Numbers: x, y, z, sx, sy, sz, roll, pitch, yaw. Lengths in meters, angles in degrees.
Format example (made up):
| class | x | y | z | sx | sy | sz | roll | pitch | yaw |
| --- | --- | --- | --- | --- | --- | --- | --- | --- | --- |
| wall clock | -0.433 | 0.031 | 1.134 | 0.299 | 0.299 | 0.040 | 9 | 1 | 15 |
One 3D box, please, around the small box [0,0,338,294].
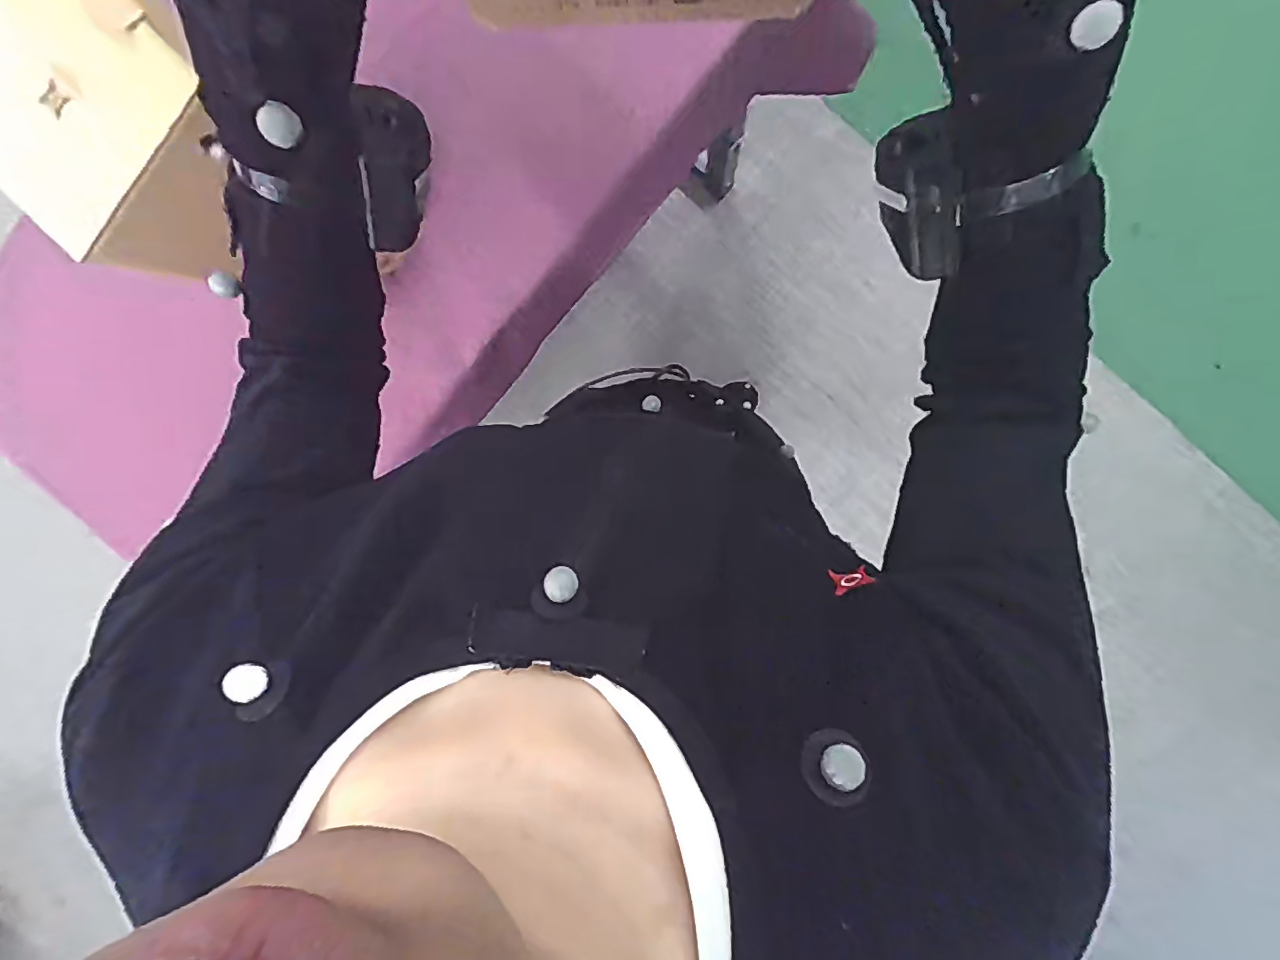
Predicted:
| class | x | y | z | sx | sy | sz | roll | pitch | yaw |
| --- | --- | --- | --- | --- | --- | --- | --- | --- | --- |
| small box | -0.416 | -0.291 | 0.477 | 0.168 | 0.176 | 0.179 | 44 | 101 | -3 |
